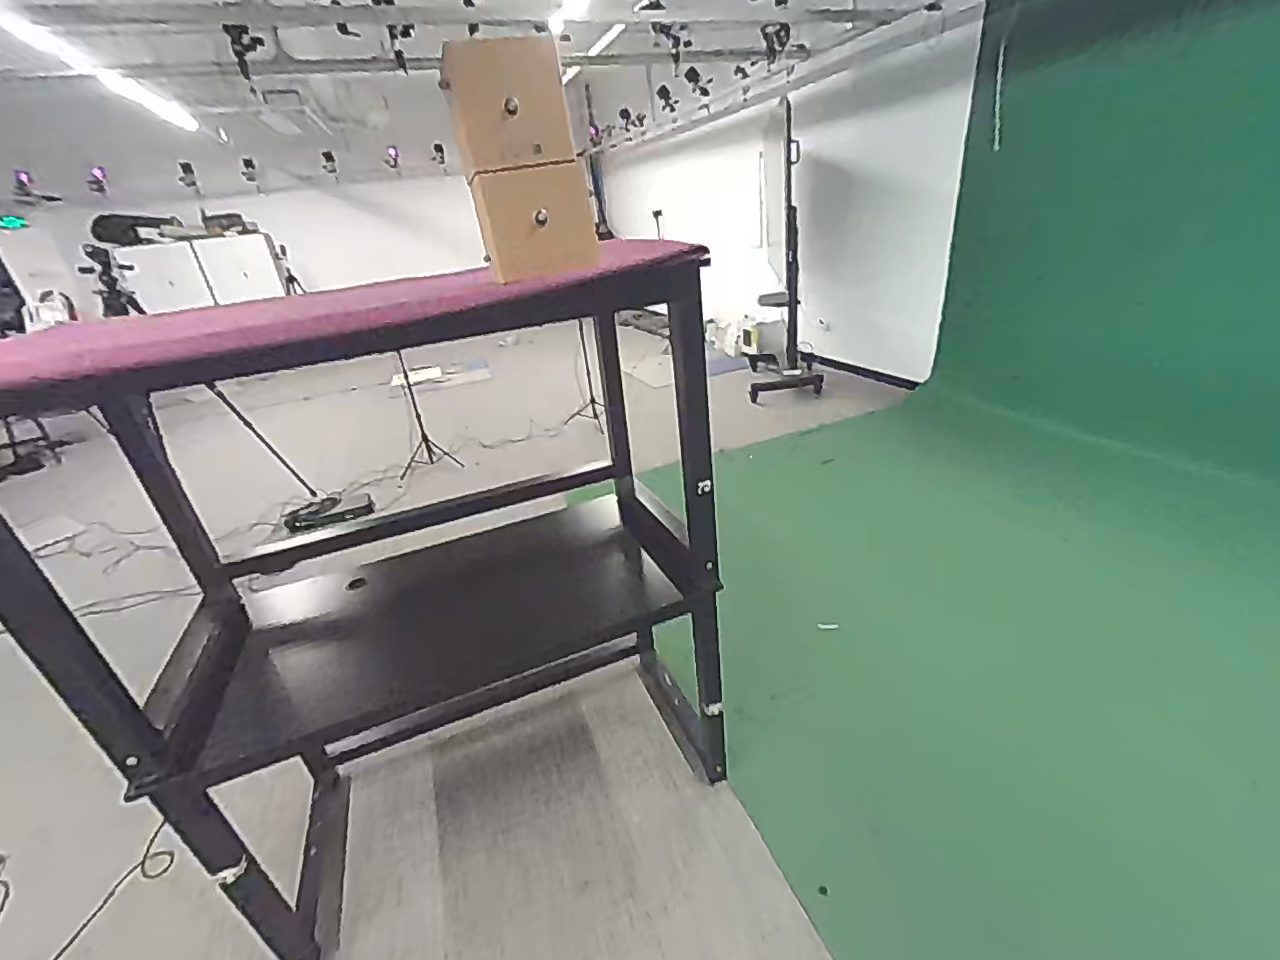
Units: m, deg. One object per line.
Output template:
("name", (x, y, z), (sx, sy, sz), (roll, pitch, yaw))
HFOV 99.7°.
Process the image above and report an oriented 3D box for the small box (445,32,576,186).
("small box", (-0.212, -0.596, 0.886), (0.168, 0.176, 0.179), (-16, 25, -15))
